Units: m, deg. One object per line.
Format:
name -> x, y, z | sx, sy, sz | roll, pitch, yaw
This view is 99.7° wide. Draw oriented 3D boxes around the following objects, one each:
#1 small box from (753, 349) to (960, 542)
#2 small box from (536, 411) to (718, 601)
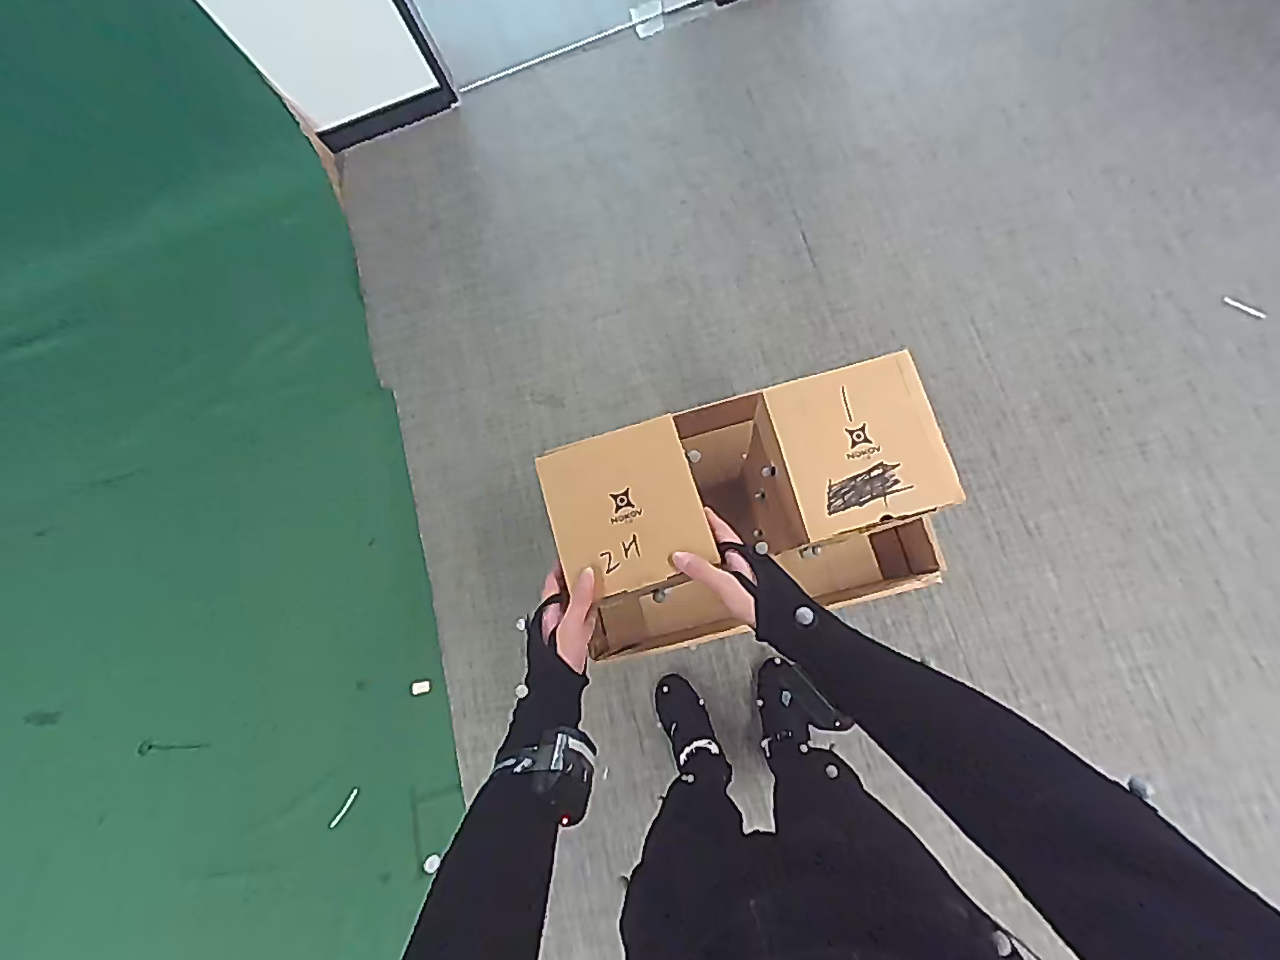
small box -> 0.240, -0.027, 0.651 | 0.168, 0.176, 0.179 | -15, 77, 4
small box -> -0.009, 0.043, 0.665 | 0.168, 0.176, 0.179 | -18, 75, 4
